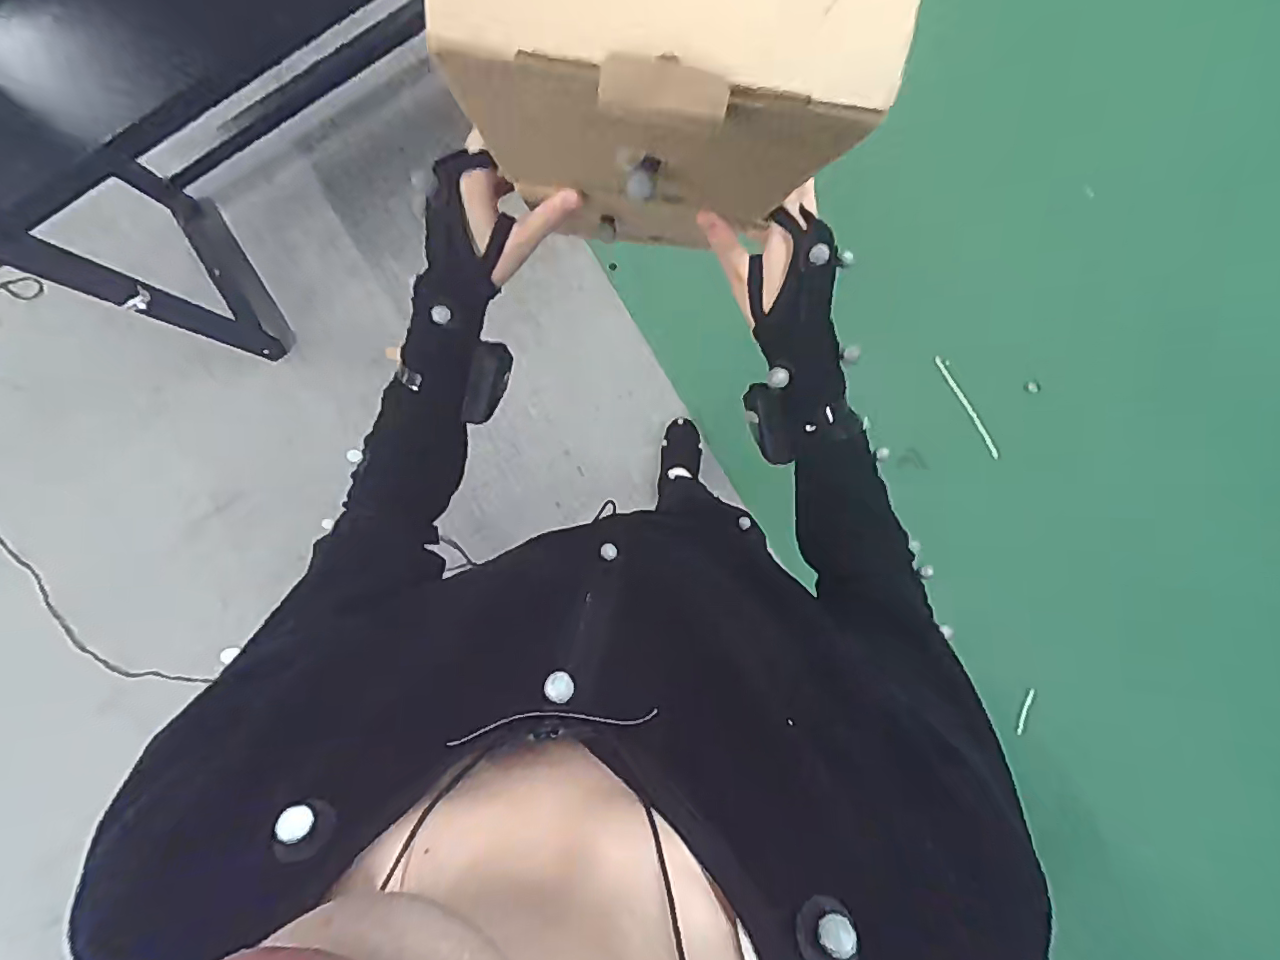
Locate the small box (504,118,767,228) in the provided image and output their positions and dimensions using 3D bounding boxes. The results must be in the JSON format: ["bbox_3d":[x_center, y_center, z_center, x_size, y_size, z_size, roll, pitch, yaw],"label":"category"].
[{"bbox_3d":[0.002,-0.294,0.389,0.168,0.176,0.179,4,104,-5],"label":"small box"}]

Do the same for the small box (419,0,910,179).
[{"bbox_3d":[0.013,-0.251,0.232,0.168,0.176,0.179,6,105,-6],"label":"small box"}]
